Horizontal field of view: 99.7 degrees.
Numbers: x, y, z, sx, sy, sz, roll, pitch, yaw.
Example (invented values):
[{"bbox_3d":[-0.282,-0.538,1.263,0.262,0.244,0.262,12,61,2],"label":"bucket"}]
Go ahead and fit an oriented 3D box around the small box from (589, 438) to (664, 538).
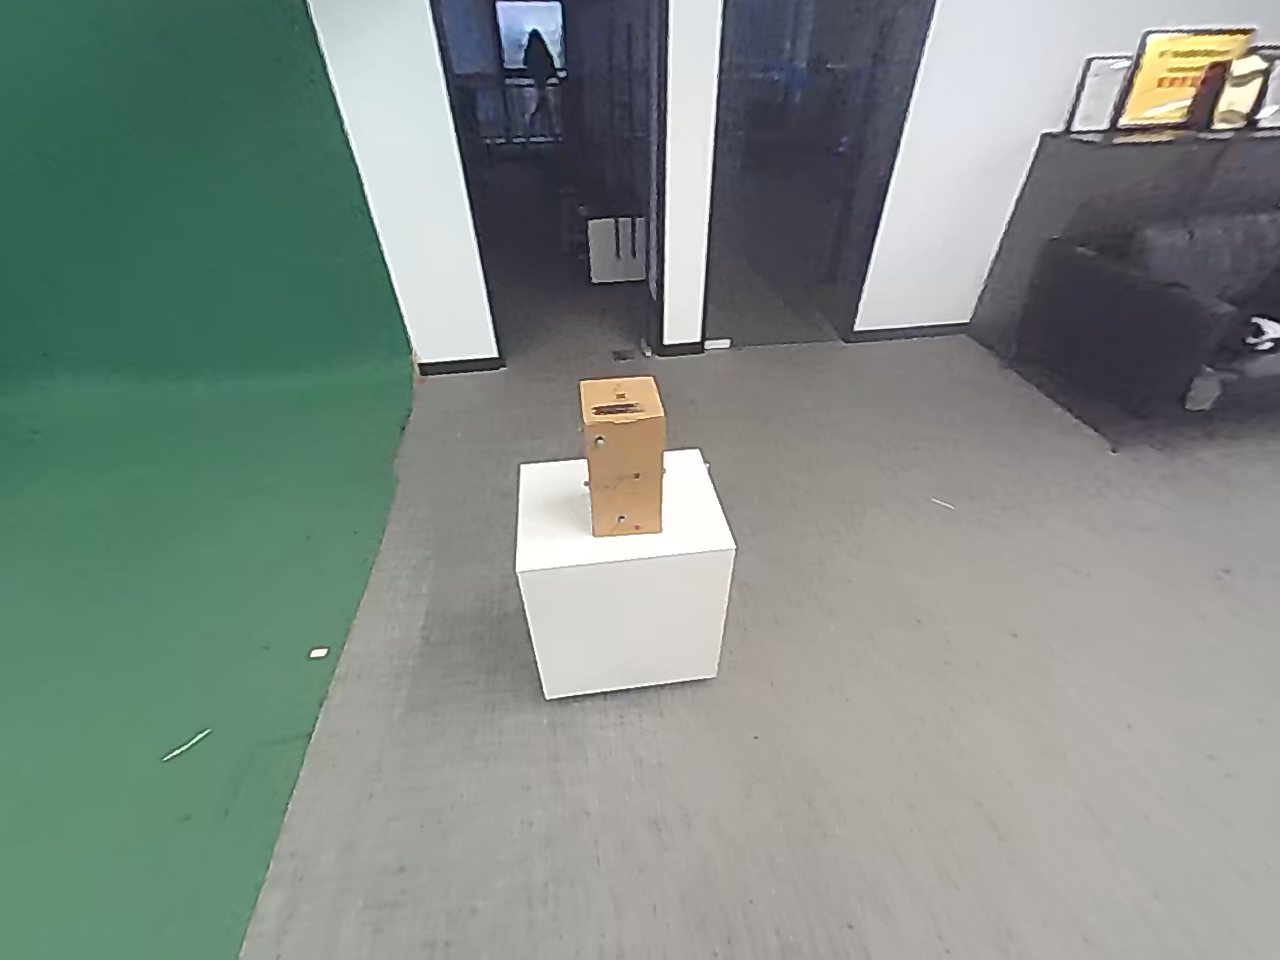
[{"bbox_3d":[-0.037,0.018,1.298,0.168,0.176,0.179,-4,38,-4],"label":"small box"}]
